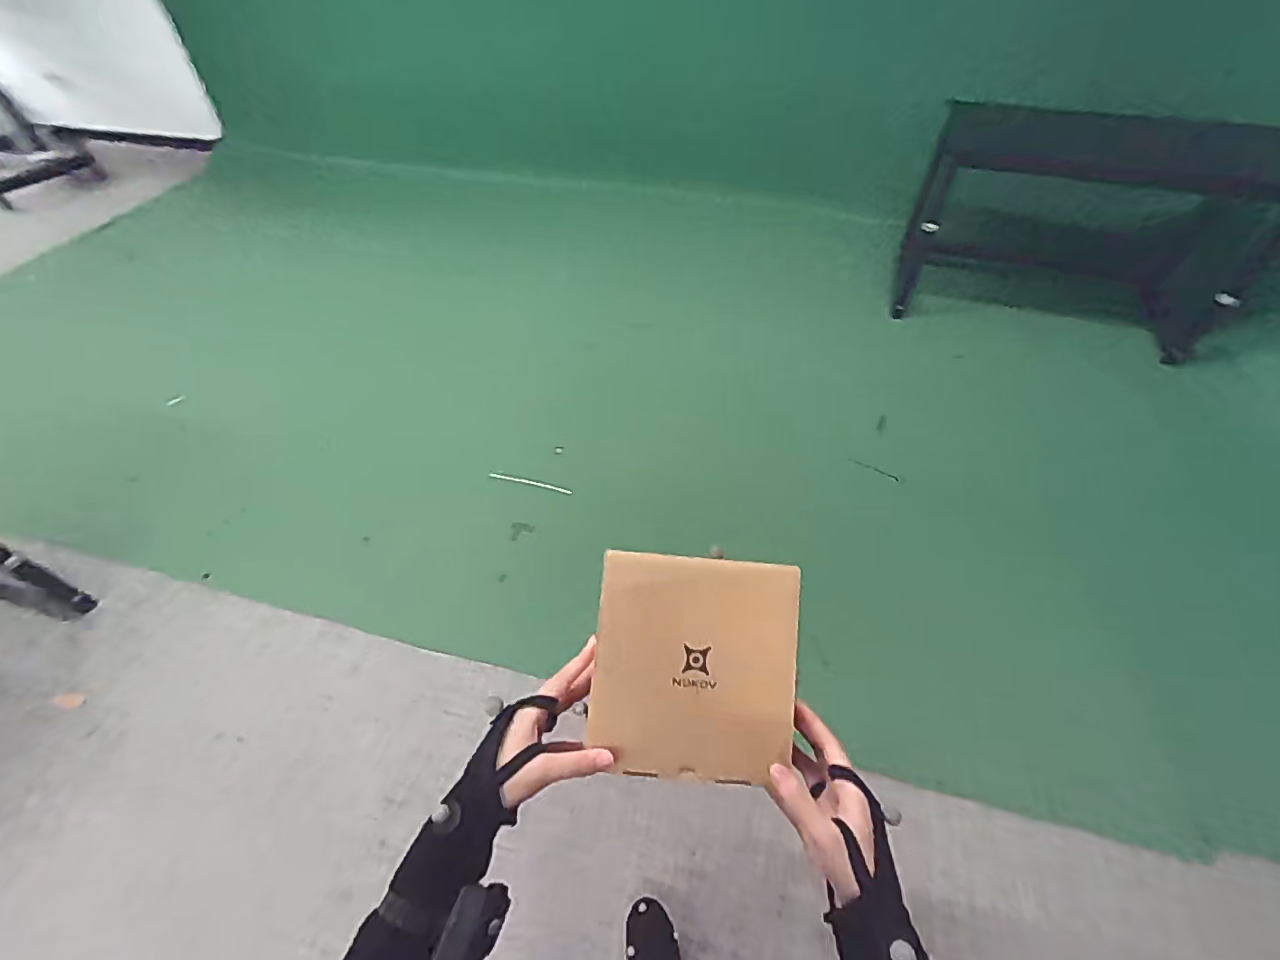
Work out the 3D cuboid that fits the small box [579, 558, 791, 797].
[{"bbox_3d":[0.037,0.170,0.515,0.168,0.176,0.179,4,81,0],"label":"small box"}]
